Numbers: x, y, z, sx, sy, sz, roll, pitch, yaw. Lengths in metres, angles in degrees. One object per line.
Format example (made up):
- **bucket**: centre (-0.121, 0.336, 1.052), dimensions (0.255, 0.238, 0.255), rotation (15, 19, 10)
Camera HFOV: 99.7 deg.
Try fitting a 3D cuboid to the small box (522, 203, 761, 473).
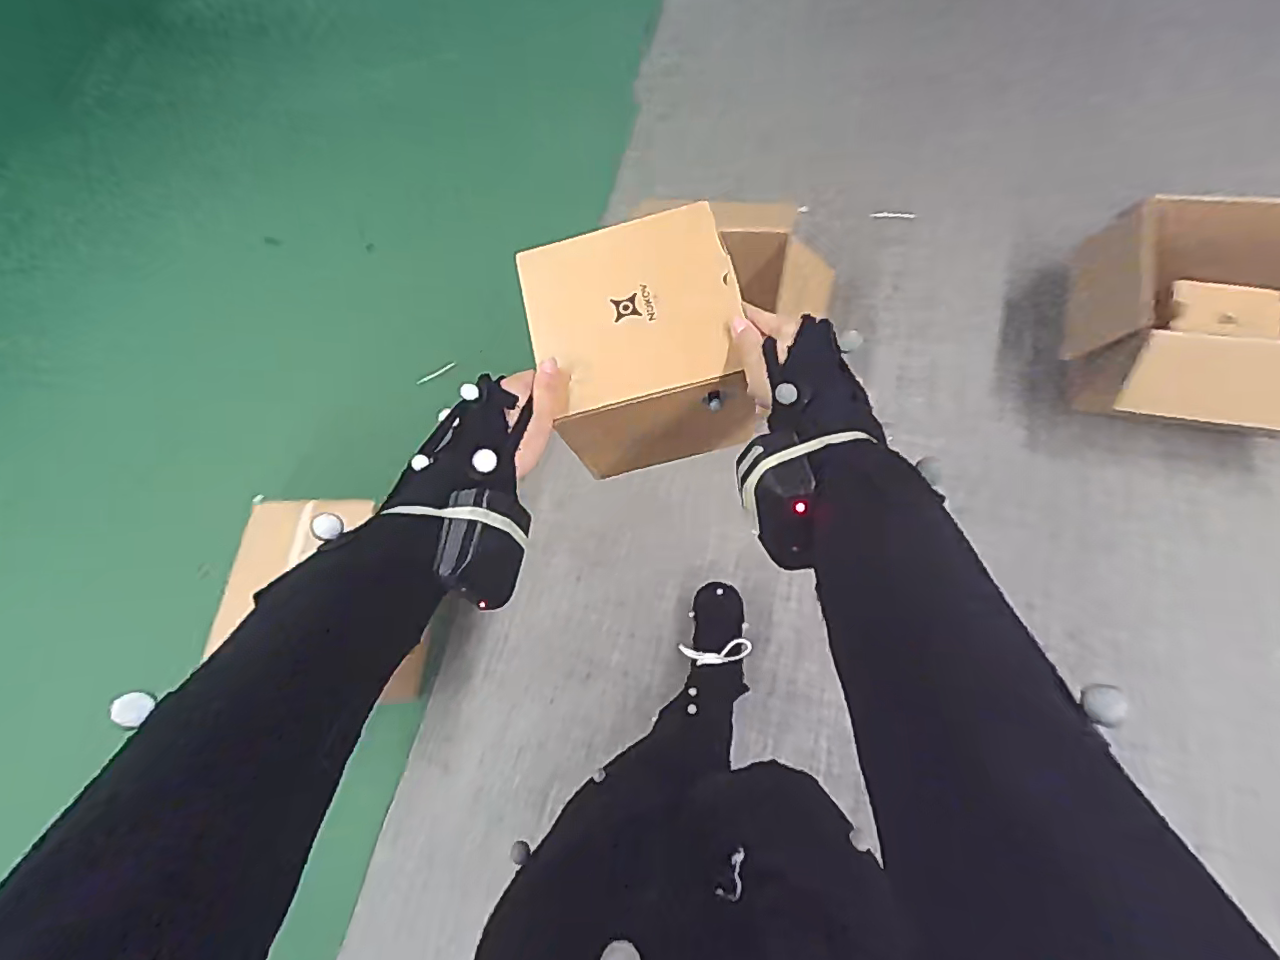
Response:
- **small box**: centre (0.006, -0.119, 0.516), dimensions (0.179, 0.176, 0.168), rotation (-13, 71, 3)
